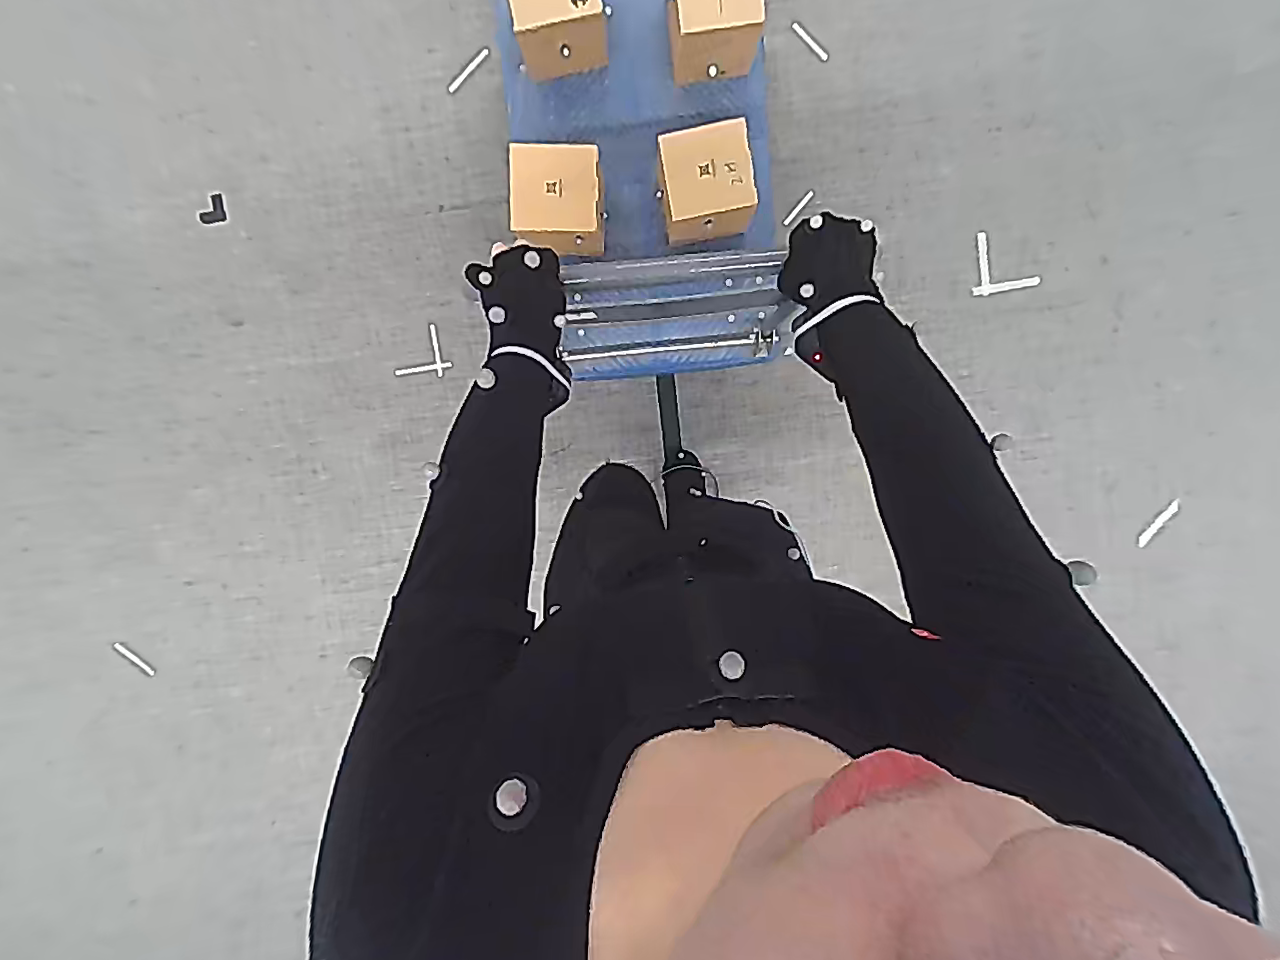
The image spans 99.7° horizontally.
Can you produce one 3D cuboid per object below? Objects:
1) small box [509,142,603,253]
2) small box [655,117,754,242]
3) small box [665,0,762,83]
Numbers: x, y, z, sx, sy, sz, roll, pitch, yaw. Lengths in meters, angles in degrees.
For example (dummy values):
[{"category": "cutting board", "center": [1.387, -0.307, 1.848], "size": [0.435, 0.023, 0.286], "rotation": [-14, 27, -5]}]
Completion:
[{"category": "small box", "center": [-0.174, -0.594, 1.156], "size": [0.179, 0.176, 0.168], "rotation": [0, 97, -1]}, {"category": "small box", "center": [0.132, -0.624, 1.147], "size": [0.179, 0.176, 0.168], "rotation": [-10, 97, 2]}, {"category": "small box", "center": [0.144, -0.963, 1.106], "size": [0.168, 0.176, 0.179], "rotation": [-7, 98, 1]}]
